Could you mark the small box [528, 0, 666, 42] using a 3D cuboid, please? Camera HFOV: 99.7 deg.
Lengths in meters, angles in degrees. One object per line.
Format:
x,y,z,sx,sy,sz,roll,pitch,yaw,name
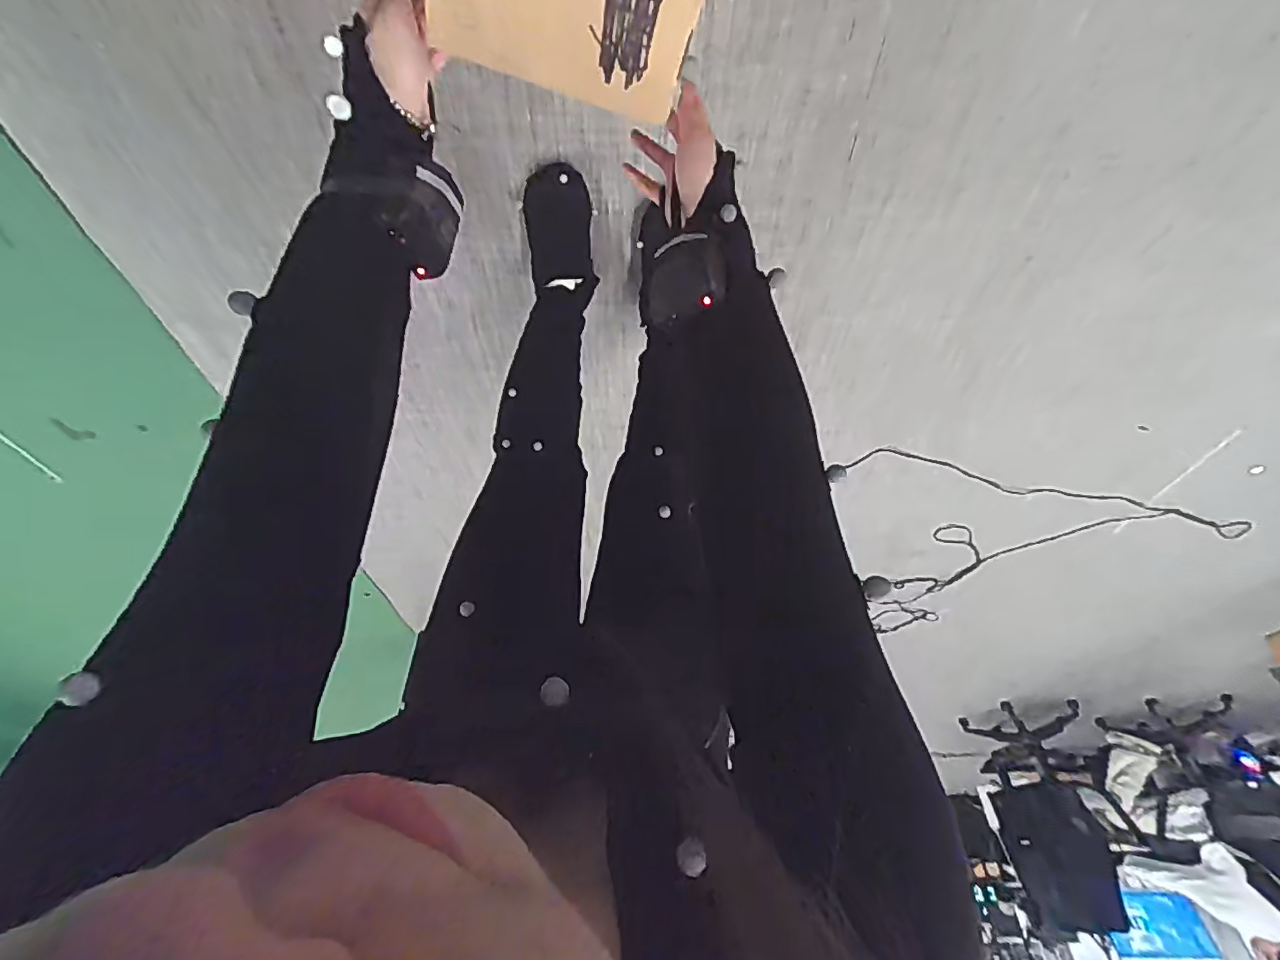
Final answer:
-0.038,-0.529,0.463,0.168,0.176,0.179,10,141,-11,small box
